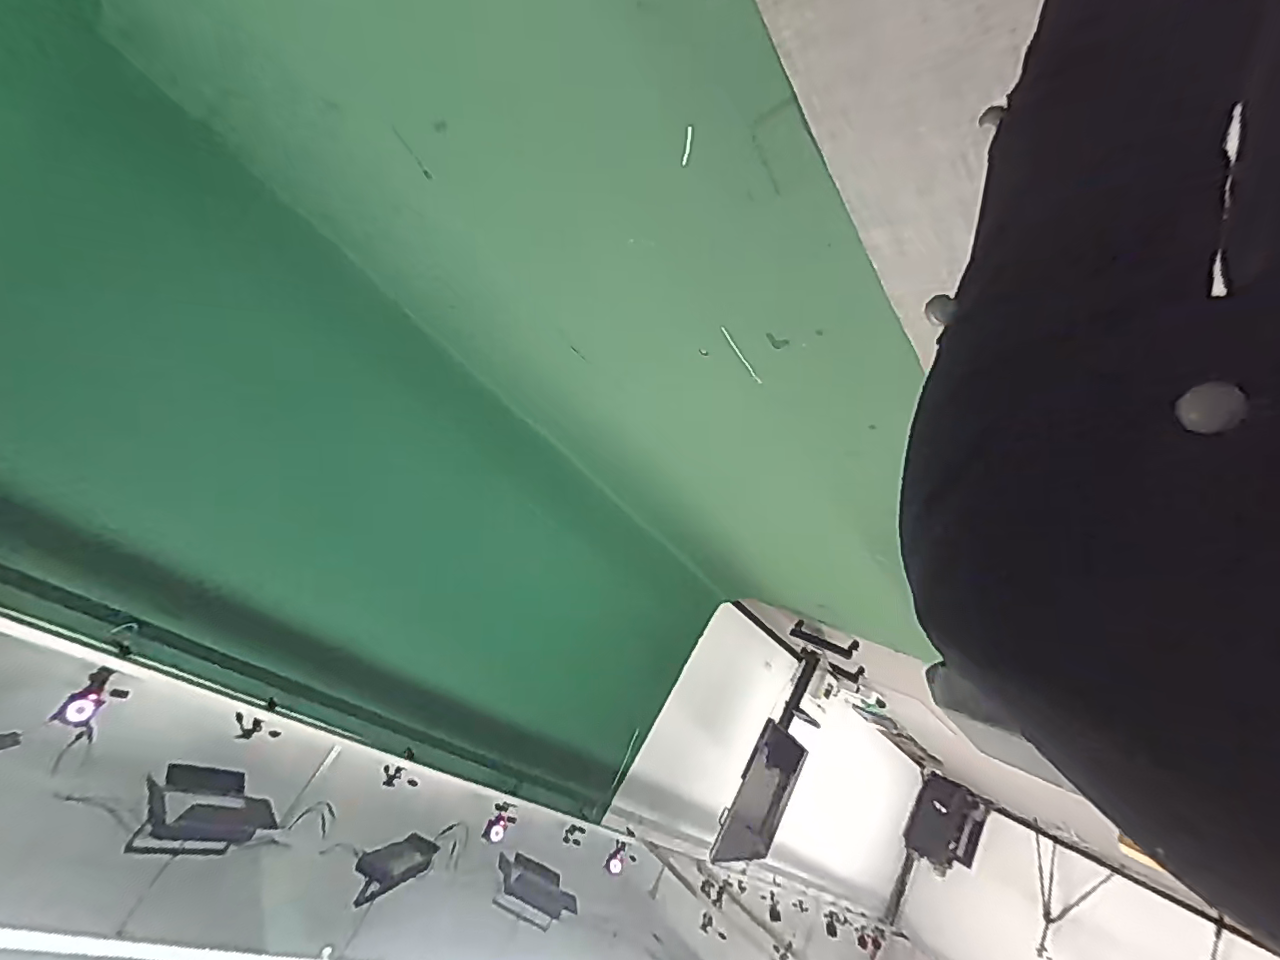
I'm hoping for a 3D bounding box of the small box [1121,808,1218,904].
[{"bbox_3d":[1.578,1.110,1.613,0.179,0.176,0.168,12,154,50],"label":"small box"}]
